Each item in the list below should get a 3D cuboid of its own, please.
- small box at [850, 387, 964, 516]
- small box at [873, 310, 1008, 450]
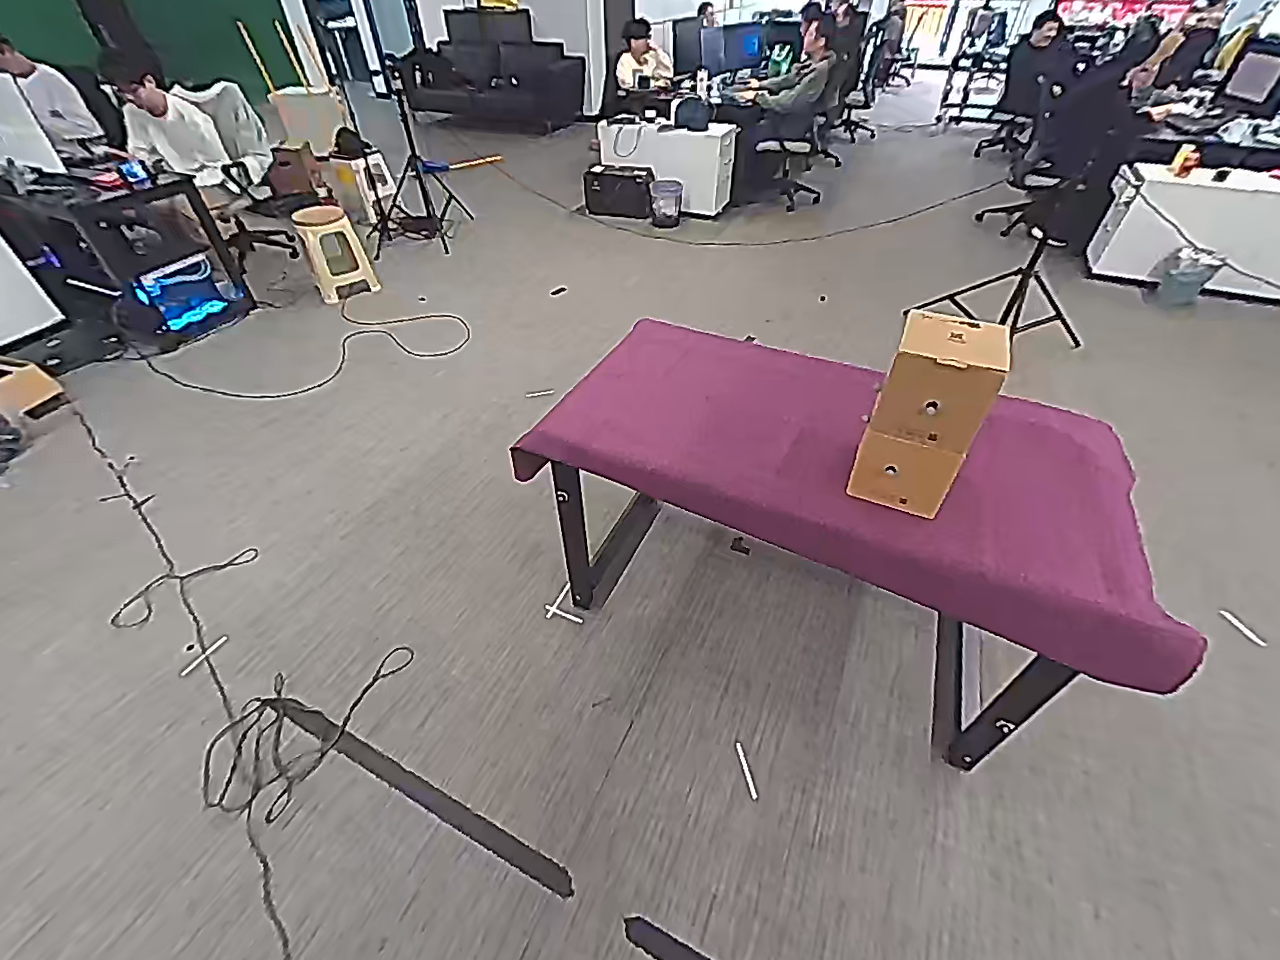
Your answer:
[{"bbox_3d":[0.531,-0.056,1.080,0.168,0.176,0.179,18,46,19],"label":"small box"},{"bbox_3d":[0.533,-0.179,0.971,0.168,0.176,0.179,19,47,19],"label":"small box"}]
